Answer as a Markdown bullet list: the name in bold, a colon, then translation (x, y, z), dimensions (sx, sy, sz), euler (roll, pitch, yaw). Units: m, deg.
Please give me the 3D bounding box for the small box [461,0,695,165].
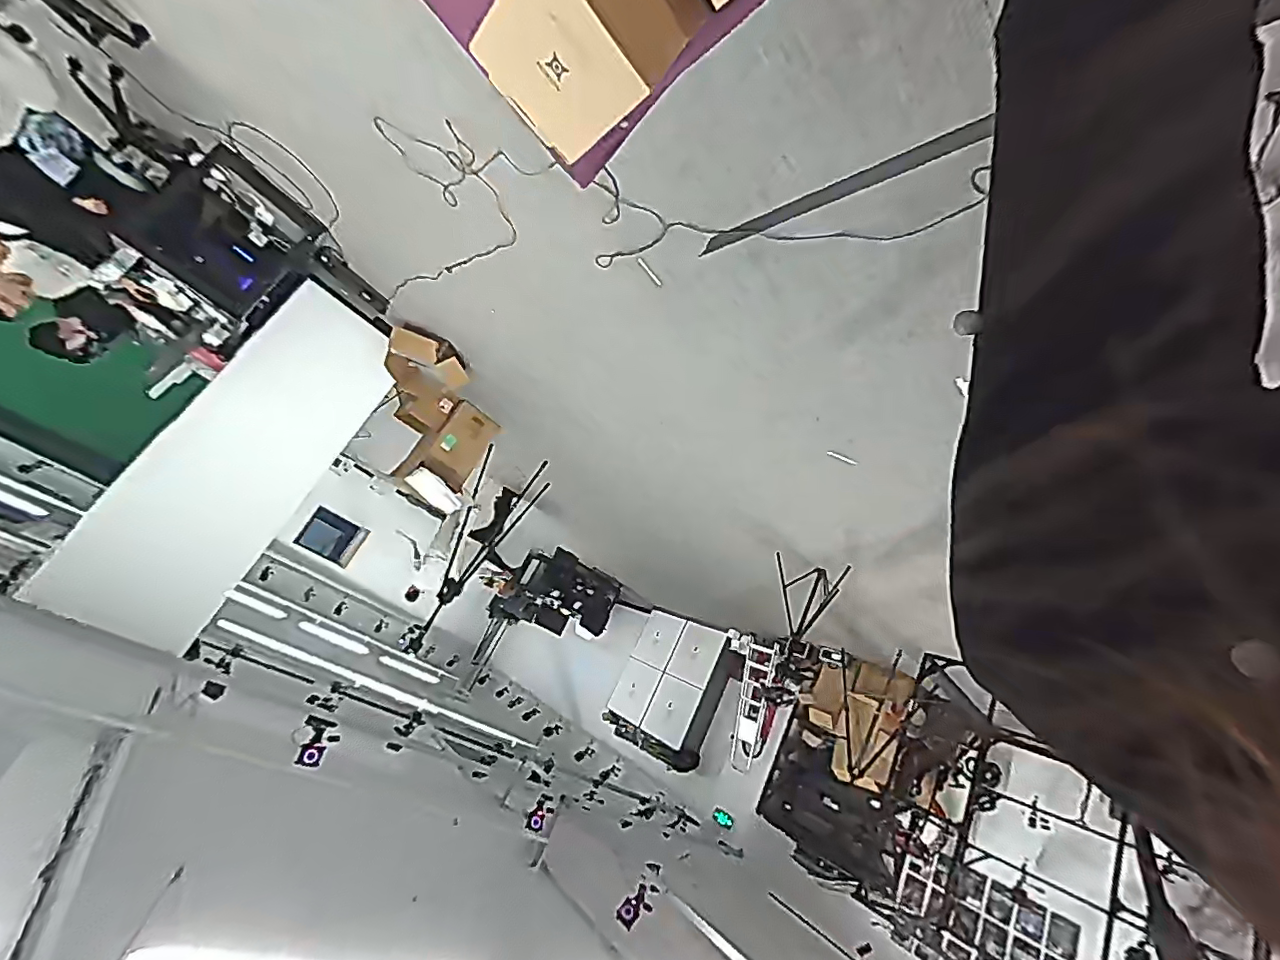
- **small box**: translation (-0.068, -0.521, 0.625), dimensions (0.168, 0.176, 0.179), euler (39, 157, -31)
